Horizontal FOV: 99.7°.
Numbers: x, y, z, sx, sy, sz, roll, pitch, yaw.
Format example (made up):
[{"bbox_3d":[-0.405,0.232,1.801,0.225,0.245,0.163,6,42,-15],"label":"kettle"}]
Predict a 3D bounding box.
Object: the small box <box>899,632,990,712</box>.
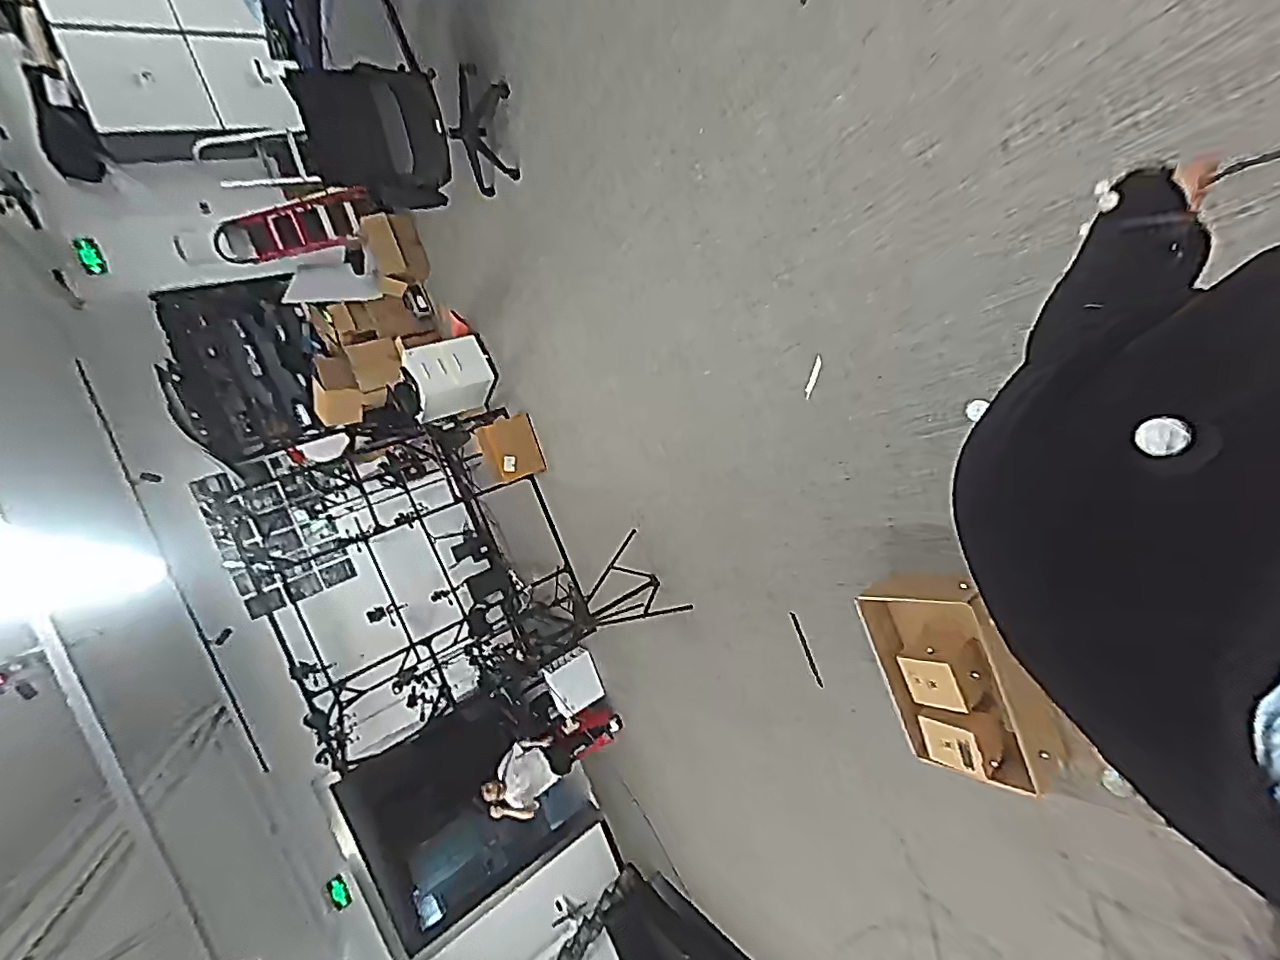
[{"bbox_3d":[0.961,0.593,1.696,0.179,0.176,0.168,-18,95,60],"label":"small box"}]
